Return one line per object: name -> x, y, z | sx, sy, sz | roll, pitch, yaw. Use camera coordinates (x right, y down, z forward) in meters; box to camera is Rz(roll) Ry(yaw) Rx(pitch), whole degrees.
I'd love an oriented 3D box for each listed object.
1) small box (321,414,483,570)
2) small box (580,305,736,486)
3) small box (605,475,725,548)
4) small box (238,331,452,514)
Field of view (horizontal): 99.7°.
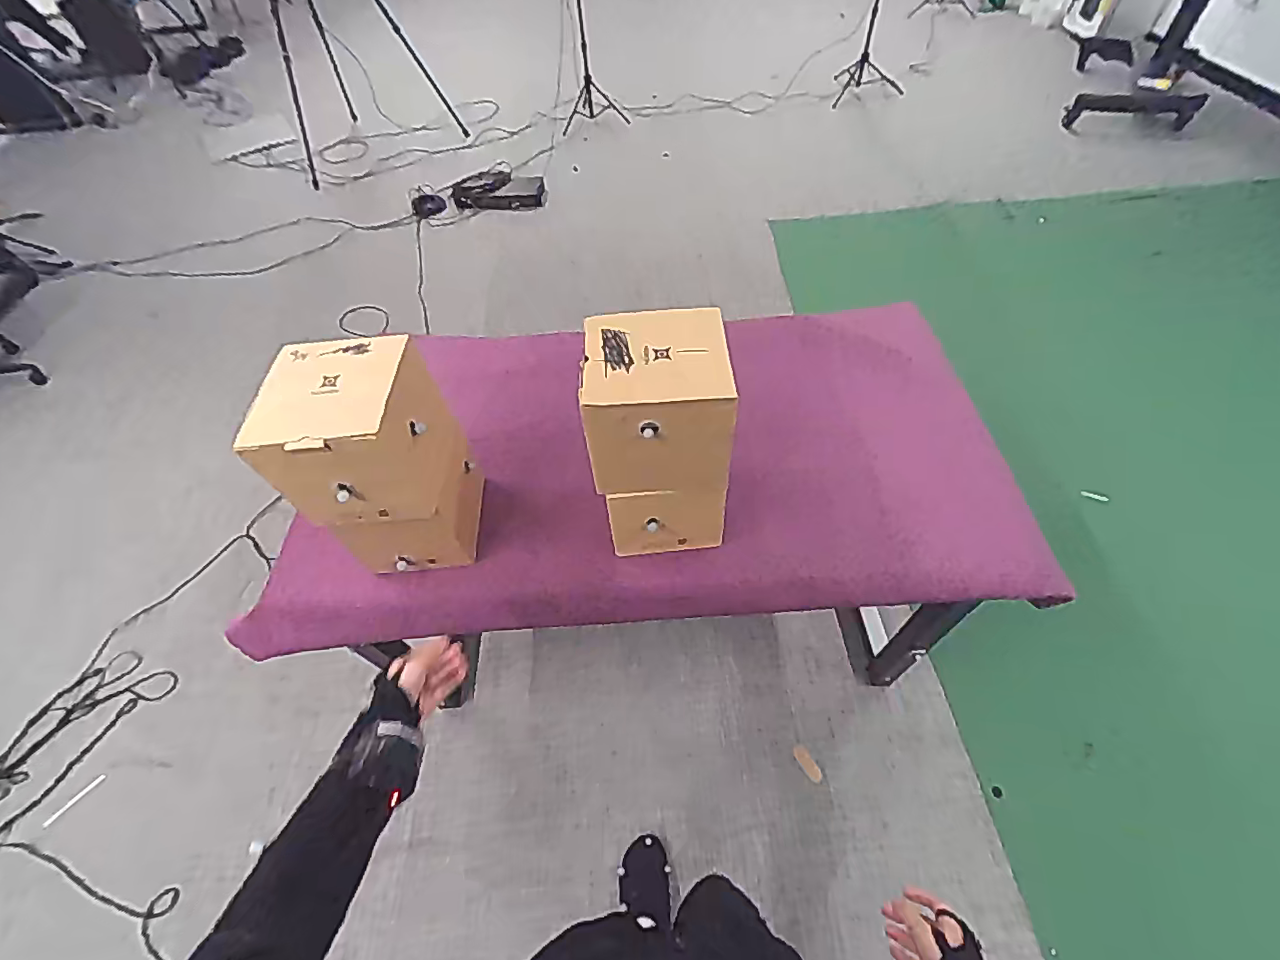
small box -> -0.353, 0.021, 0.843 | 0.168, 0.176, 0.179 | -6, 54, 0
small box -> 0.024, -0.104, 0.704 | 0.179, 0.176, 0.168 | -3, 52, 2
small box -> 0.035, -0.006, 0.836 | 0.168, 0.176, 0.179 | -6, 52, 0
small box -> -0.361, -0.067, 0.705 | 0.168, 0.176, 0.179 | -4, 54, 1
